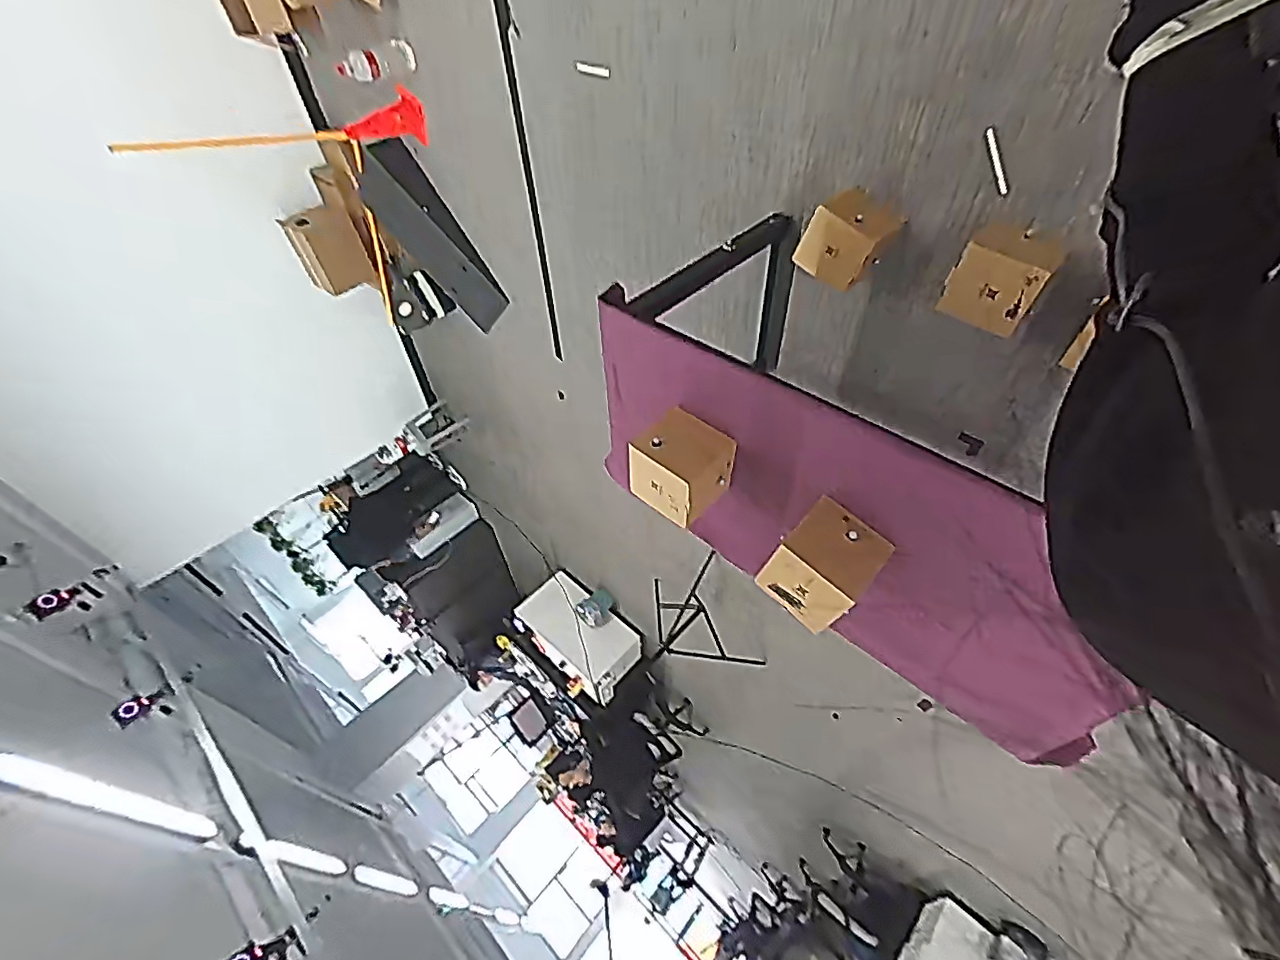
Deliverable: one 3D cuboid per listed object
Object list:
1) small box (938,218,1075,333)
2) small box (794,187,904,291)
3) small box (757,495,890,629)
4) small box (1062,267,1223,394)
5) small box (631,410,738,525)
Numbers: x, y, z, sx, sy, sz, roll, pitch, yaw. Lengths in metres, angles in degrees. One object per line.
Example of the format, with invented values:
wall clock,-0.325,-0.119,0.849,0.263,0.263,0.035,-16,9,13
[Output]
small box,0.828,-0.470,1.228,0.179,0.176,0.168,36,149,24
small box,0.549,-0.640,1.422,0.179,0.176,0.168,42,150,12
small box,0.372,0.166,1.099,0.168,0.176,0.179,40,150,17
small box,1.037,-0.315,1.118,0.179,0.176,0.168,35,147,26
small box,0.099,-0.036,1.245,0.179,0.176,0.168,34,149,26
